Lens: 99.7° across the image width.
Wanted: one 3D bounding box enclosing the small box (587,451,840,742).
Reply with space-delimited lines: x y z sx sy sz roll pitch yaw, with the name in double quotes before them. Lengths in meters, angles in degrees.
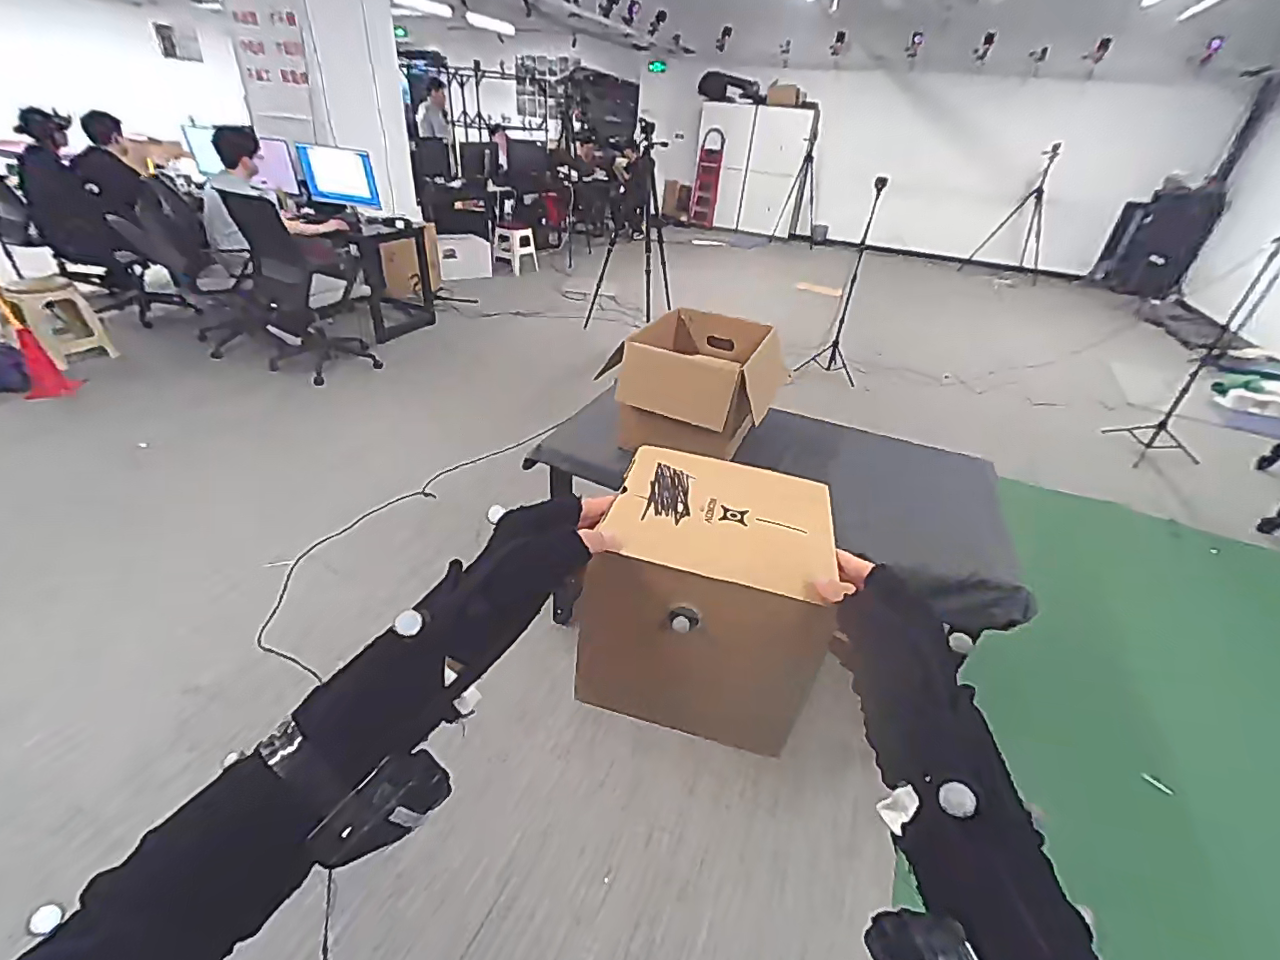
"small box" 0.059 0.097 0.478 0.179 0.176 0.168 13 31 8
